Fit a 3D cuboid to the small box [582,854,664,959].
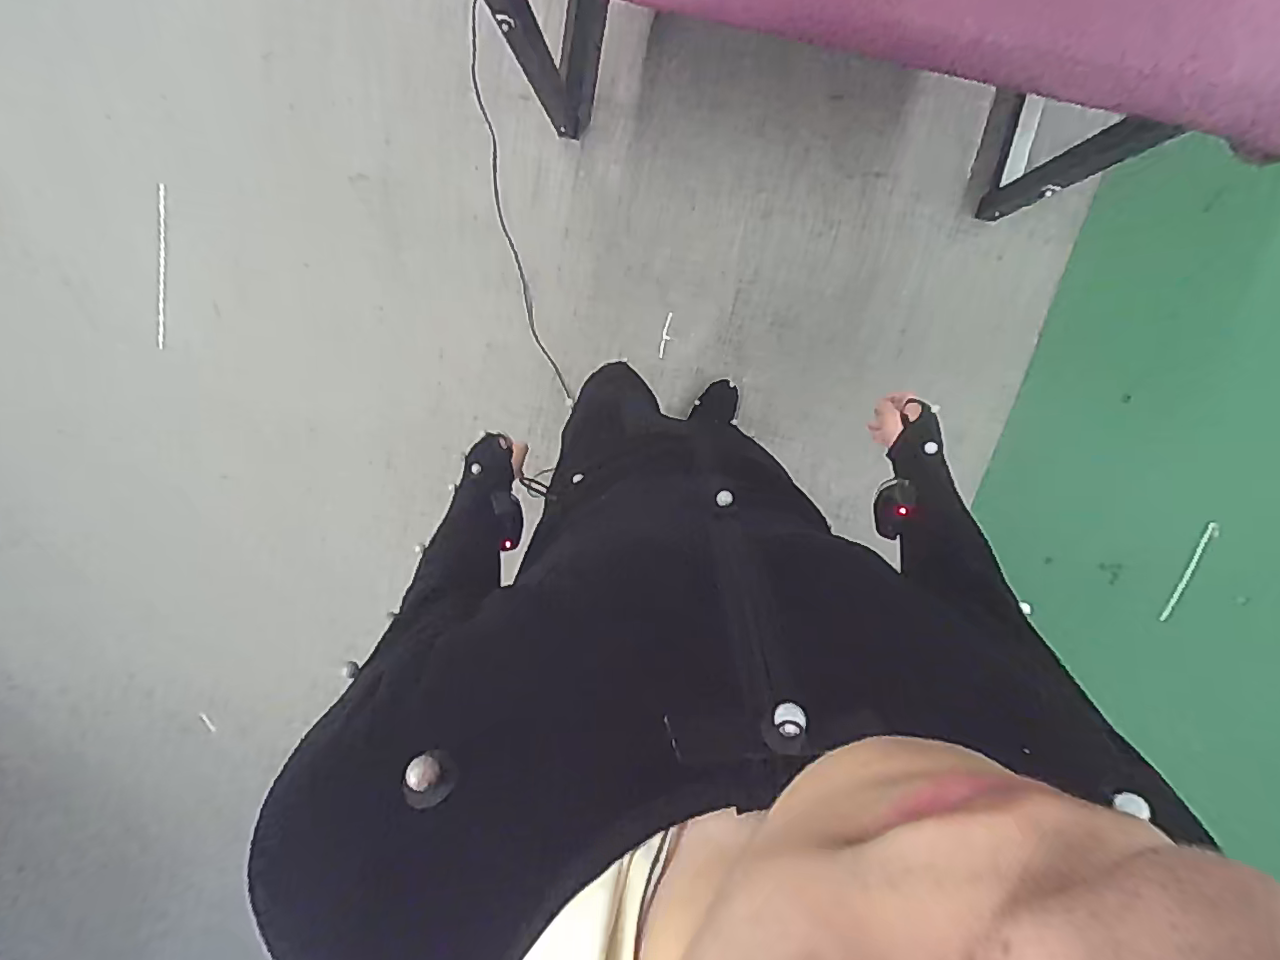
[{"bbox_3d":[-0.039,1.155,1.455,0.179,0.176,0.168,18,103,0],"label":"small box"}]
